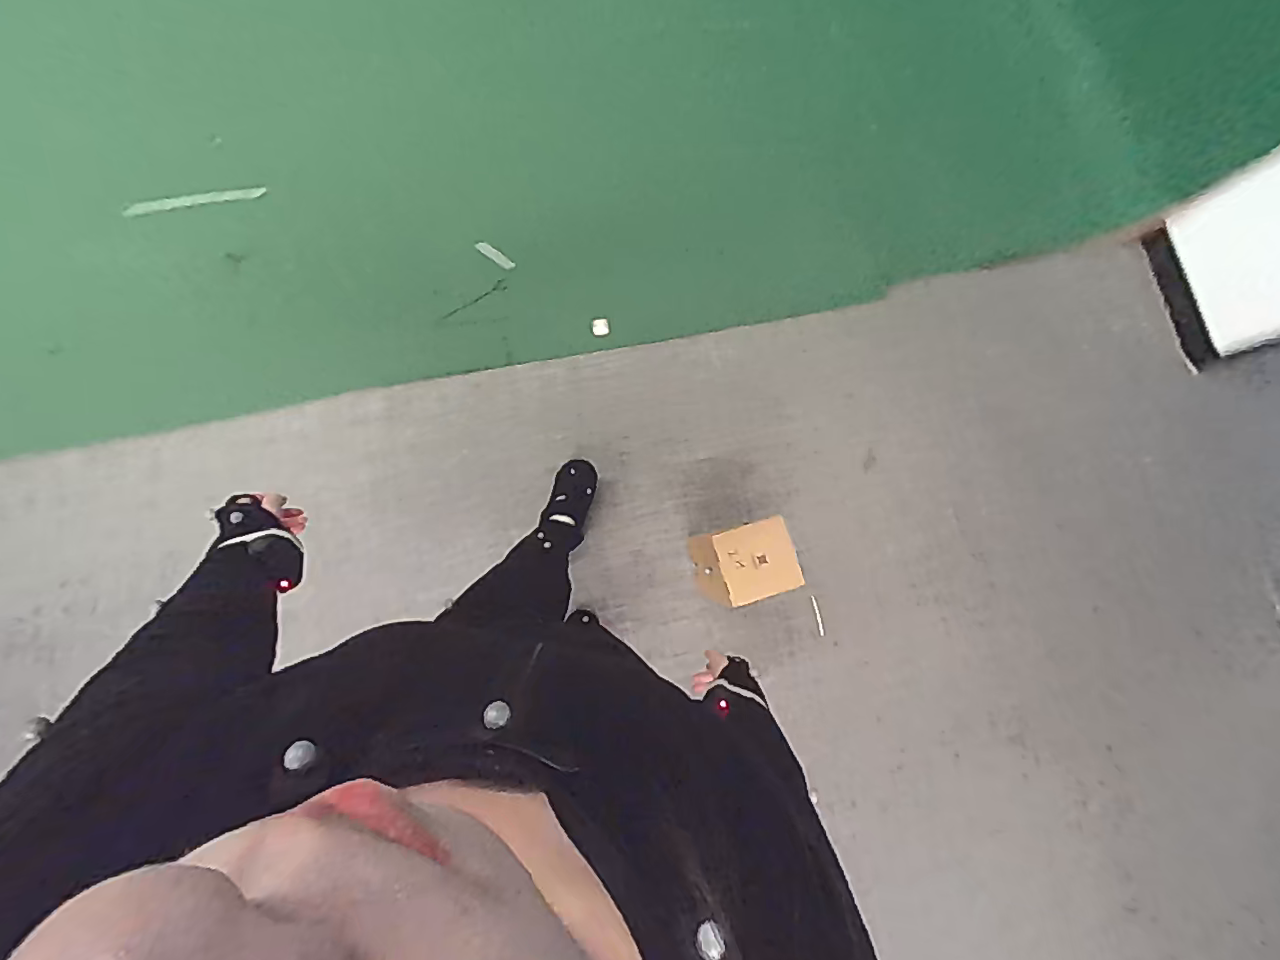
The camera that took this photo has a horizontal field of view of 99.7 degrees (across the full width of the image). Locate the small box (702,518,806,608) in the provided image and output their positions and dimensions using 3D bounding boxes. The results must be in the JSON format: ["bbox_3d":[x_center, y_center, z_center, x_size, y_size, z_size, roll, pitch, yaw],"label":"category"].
[{"bbox_3d":[0.263,0.193,1.282,0.179,0.176,0.168,-15,83,-6],"label":"small box"}]
